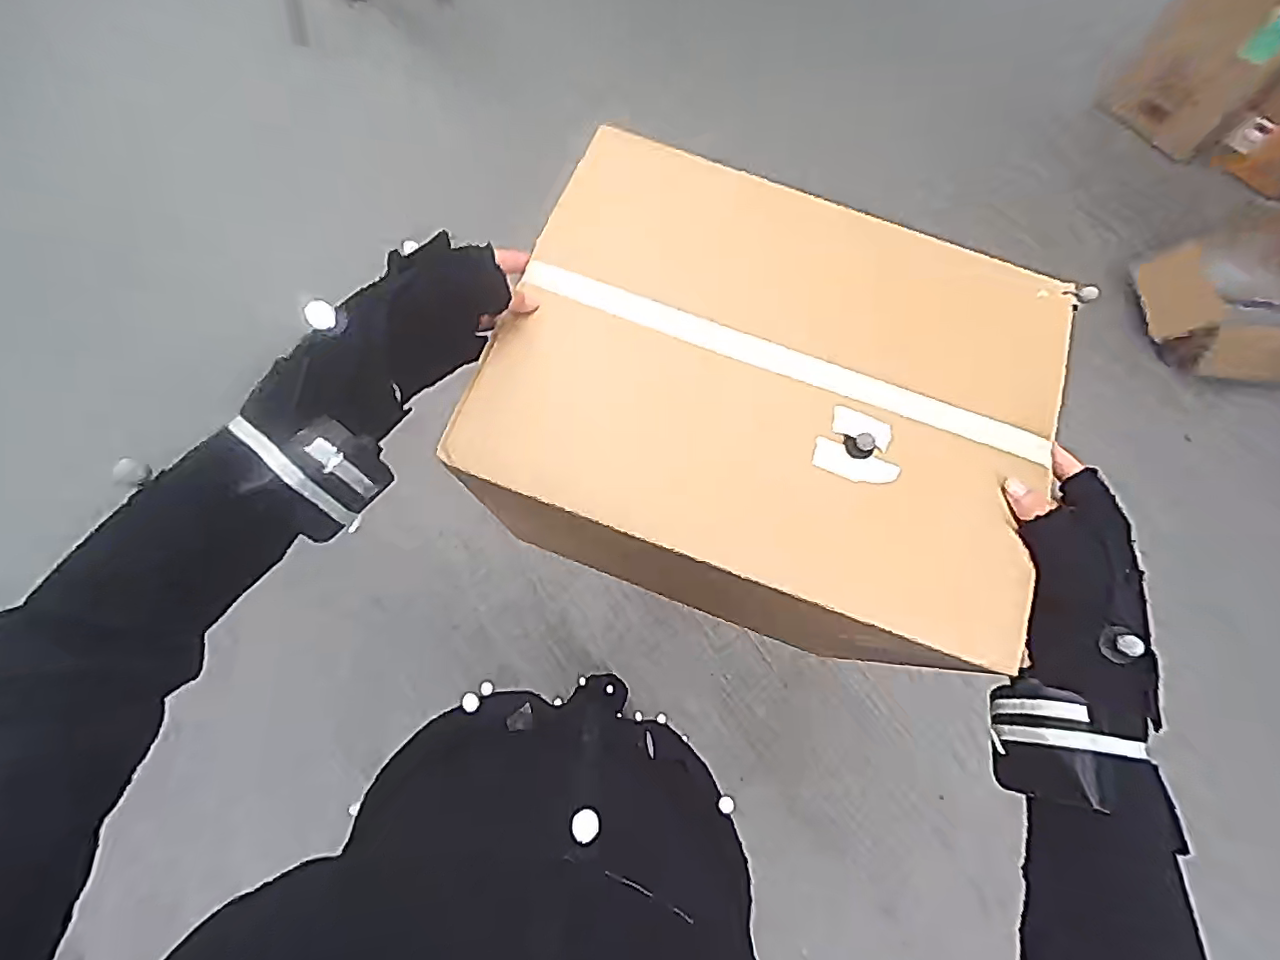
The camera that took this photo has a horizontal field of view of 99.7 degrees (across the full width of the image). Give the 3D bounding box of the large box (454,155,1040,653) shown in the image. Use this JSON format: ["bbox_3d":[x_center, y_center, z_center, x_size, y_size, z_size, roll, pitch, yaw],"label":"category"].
[{"bbox_3d":[0.090,-0.040,0.558,0.408,0.320,0.320,20,74,2],"label":"large box"}]
